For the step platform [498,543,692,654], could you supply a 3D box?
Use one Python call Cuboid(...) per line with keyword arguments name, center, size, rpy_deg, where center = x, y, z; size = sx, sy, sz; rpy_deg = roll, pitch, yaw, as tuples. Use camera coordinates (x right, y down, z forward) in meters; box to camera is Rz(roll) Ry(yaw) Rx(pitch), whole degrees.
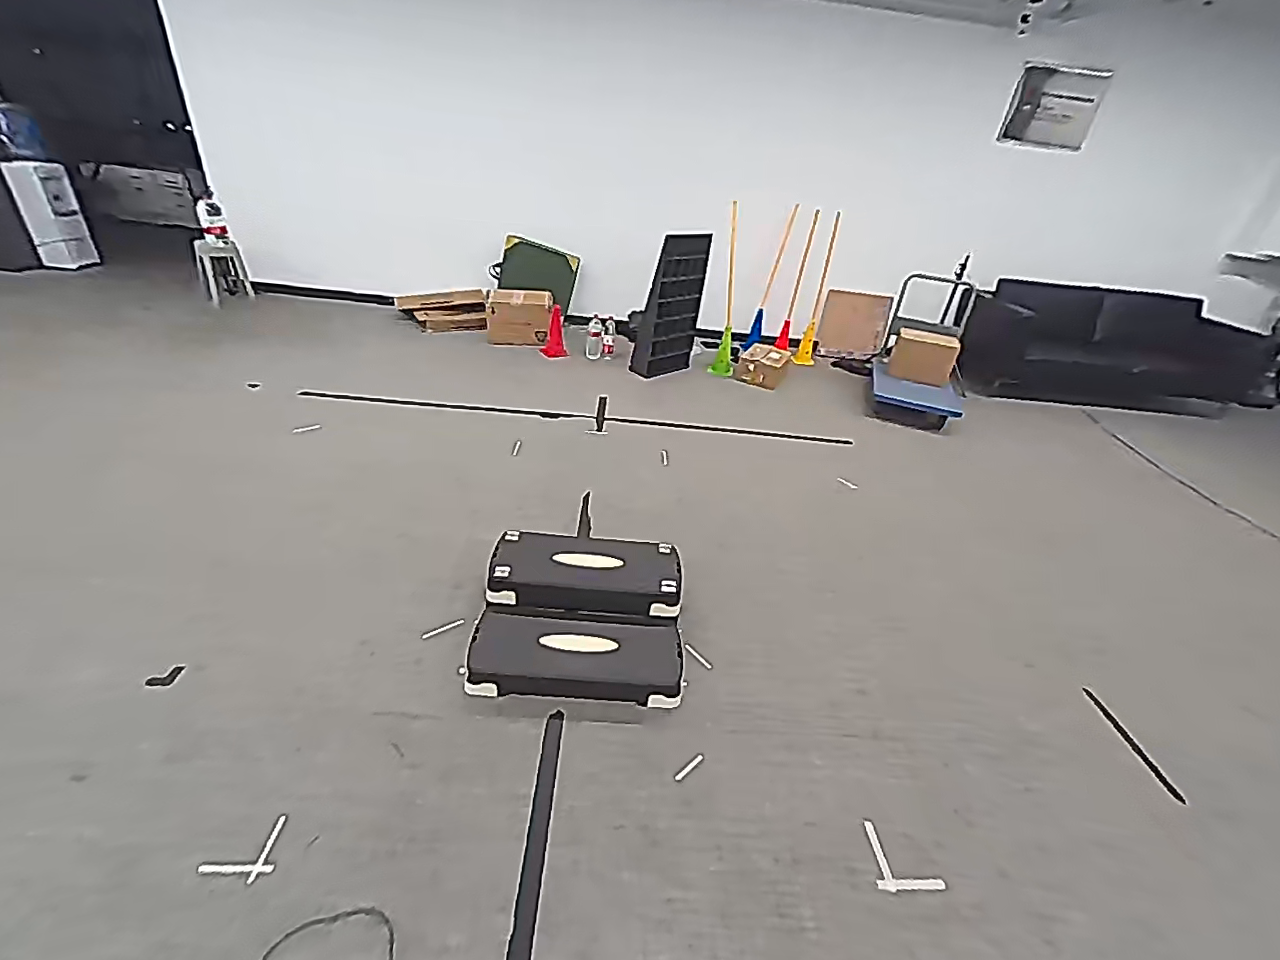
Cuboid(name="step platform", center=(-0.153, 0.418, 1.946), size=(0.684, 0.204, 0.286), rpy_deg=(8, 30, 0))
